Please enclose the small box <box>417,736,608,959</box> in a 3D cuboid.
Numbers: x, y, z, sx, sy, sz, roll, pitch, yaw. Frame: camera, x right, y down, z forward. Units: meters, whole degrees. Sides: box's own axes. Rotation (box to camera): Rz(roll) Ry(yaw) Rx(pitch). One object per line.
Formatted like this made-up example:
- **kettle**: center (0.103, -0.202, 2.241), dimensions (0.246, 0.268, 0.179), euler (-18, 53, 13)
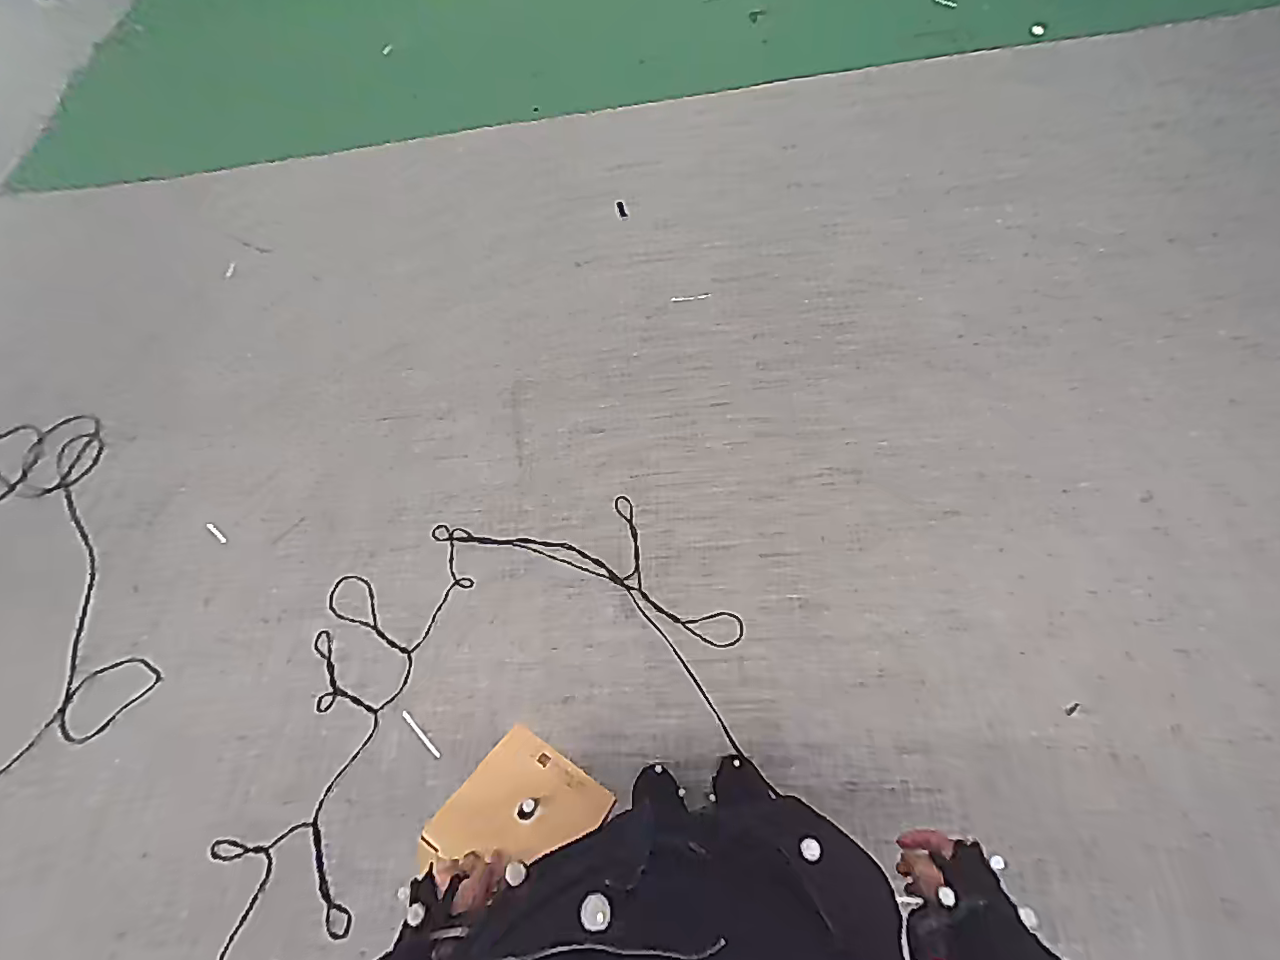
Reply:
- **small box**: center (-0.159, 0.472, 0.693), dimensions (0.168, 0.179, 0.176), euler (28, 37, 16)
